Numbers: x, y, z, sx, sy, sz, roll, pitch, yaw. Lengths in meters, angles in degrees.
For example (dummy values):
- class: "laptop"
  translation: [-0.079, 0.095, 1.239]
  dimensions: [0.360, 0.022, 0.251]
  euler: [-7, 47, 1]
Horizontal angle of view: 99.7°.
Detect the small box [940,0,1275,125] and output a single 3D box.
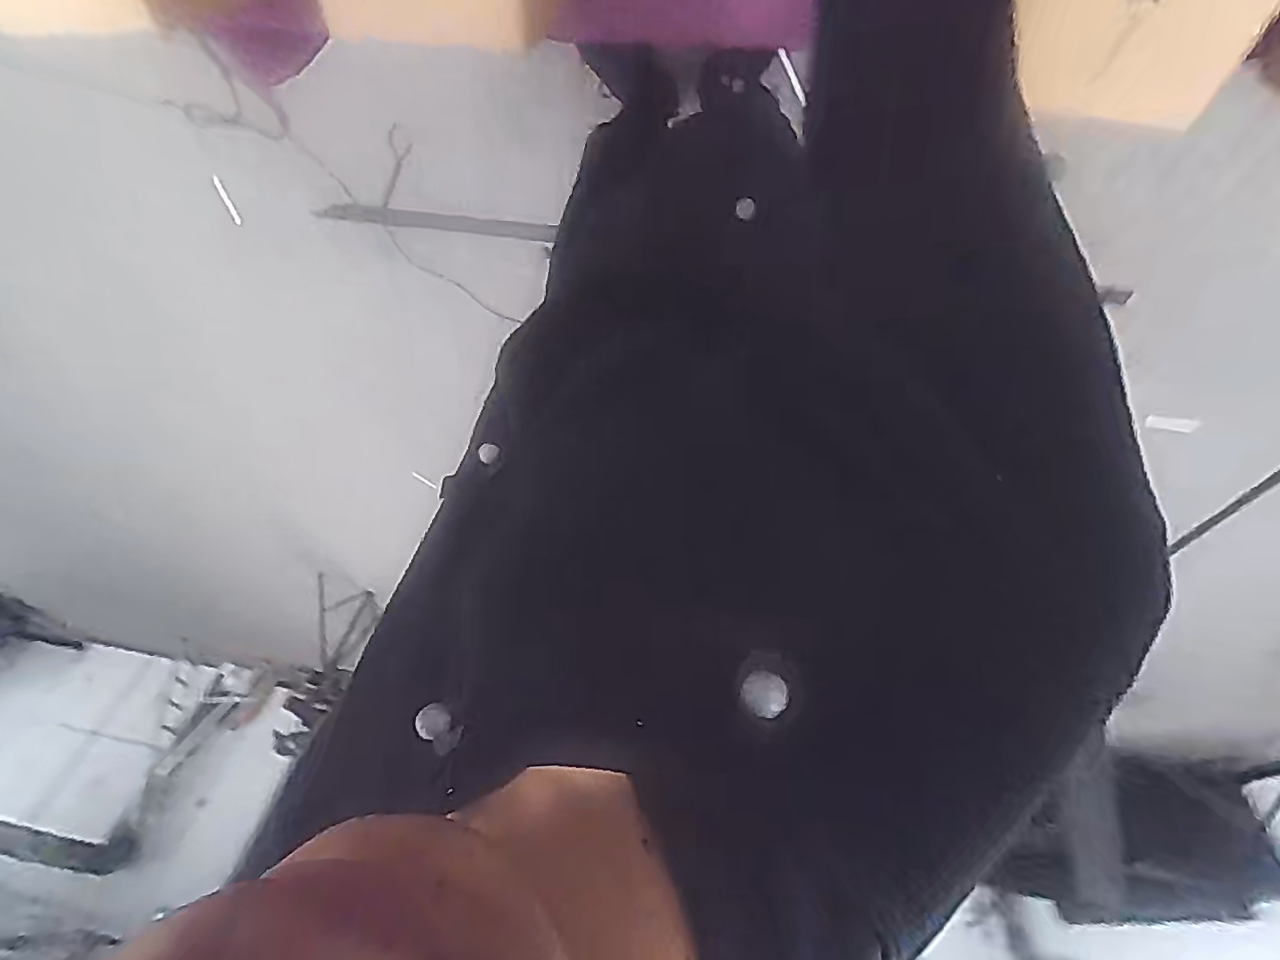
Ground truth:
- class: "small box"
  translation: [0.347, -0.396, 0.396]
  dimensions: [0.168, 0.176, 0.179]
  euler: [10, 142, 5]
